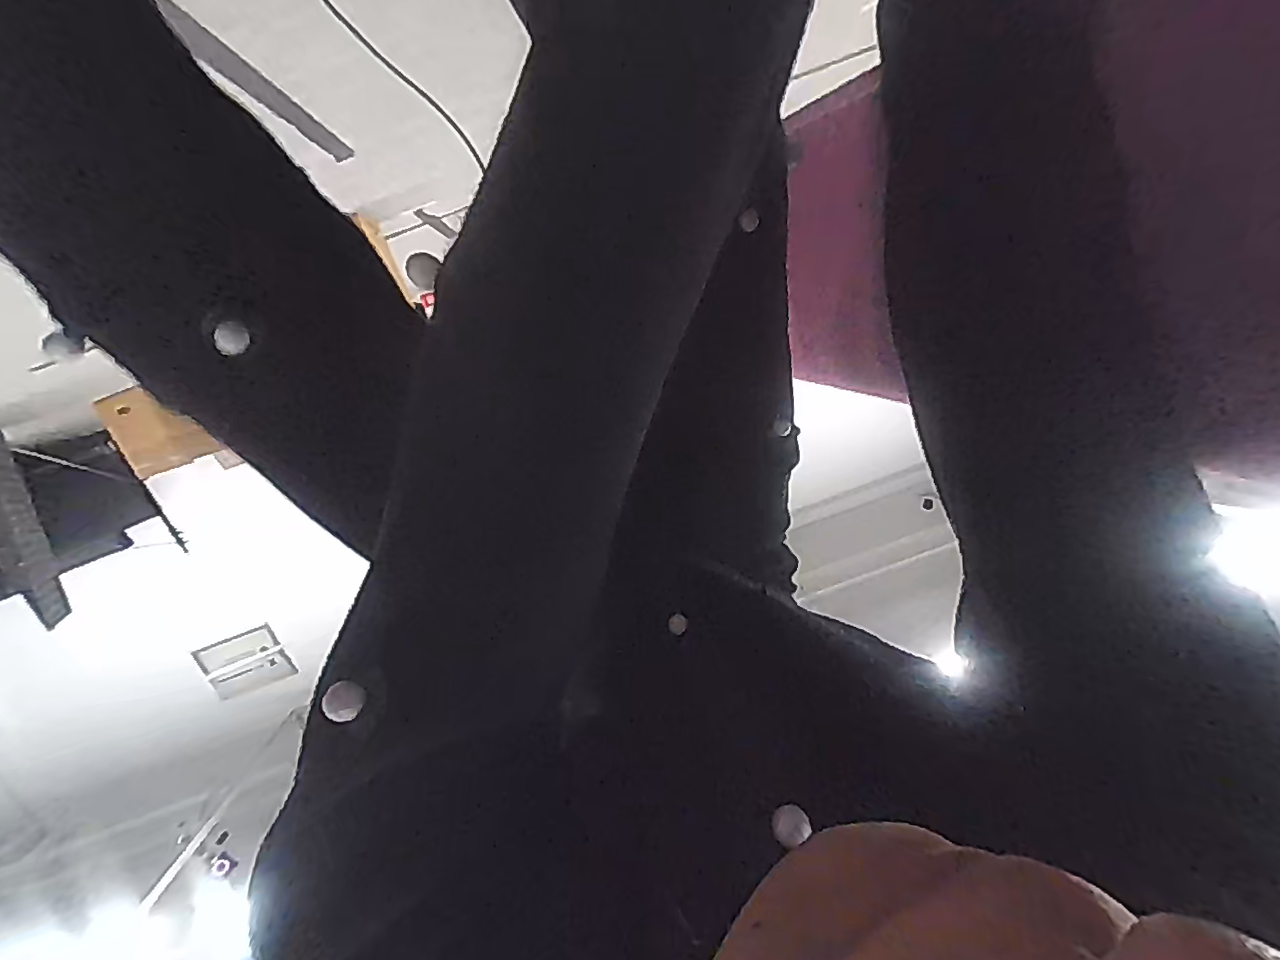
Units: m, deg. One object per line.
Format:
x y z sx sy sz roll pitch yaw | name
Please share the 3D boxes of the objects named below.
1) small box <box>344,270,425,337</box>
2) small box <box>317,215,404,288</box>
-0.852 -0.590 1.811 0.168 0.176 0.179 -21 -165 -3 | small box
-0.910 -0.732 1.756 0.179 0.176 0.168 -20 -164 2 | small box
